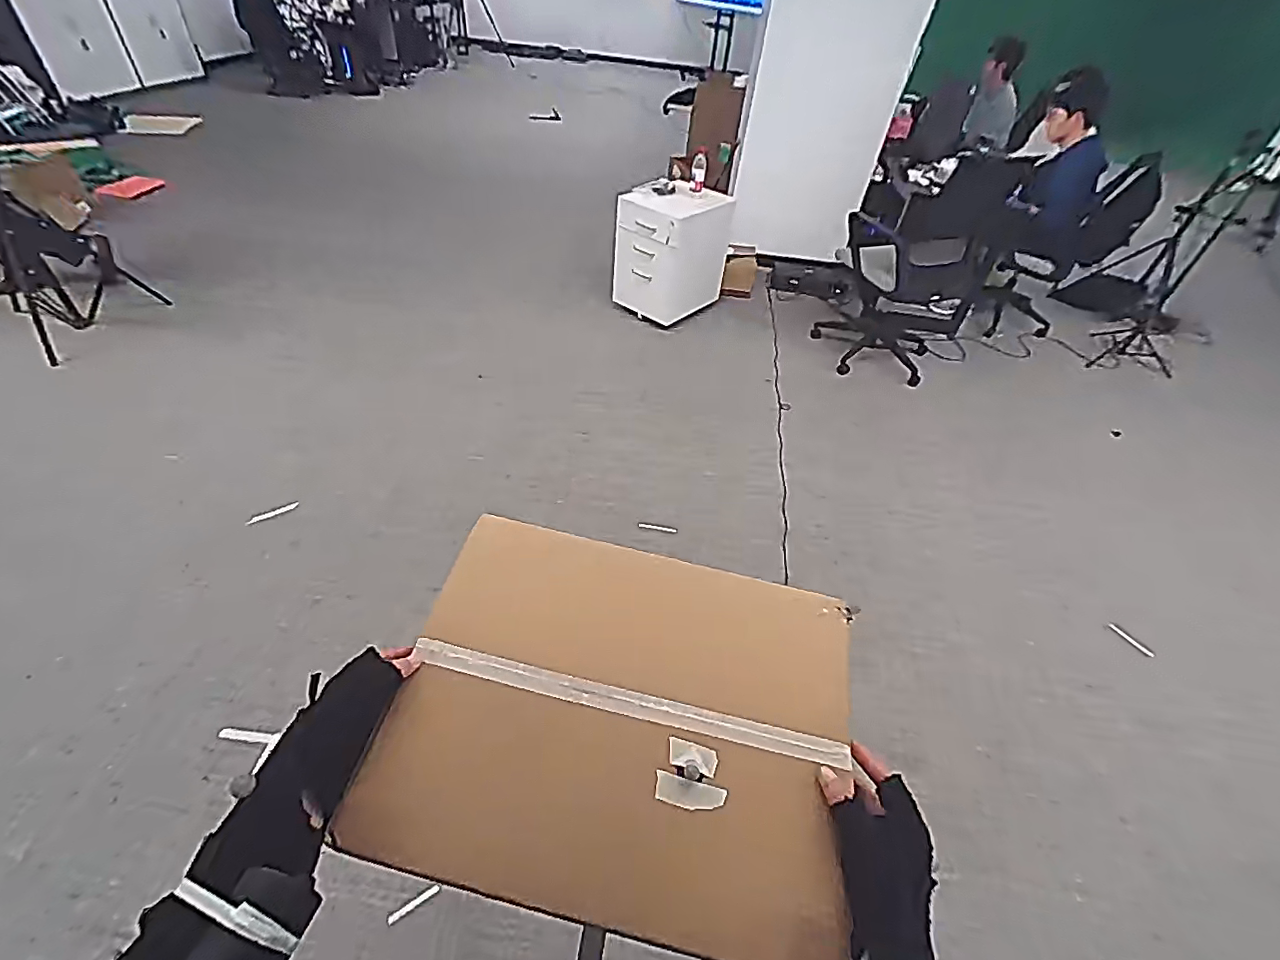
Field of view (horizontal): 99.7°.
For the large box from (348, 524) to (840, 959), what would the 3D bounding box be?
[{"bbox_3d":[-0.026,0.296,0.626,0.408,0.320,0.320,13,53,4],"label":"large box"}]
